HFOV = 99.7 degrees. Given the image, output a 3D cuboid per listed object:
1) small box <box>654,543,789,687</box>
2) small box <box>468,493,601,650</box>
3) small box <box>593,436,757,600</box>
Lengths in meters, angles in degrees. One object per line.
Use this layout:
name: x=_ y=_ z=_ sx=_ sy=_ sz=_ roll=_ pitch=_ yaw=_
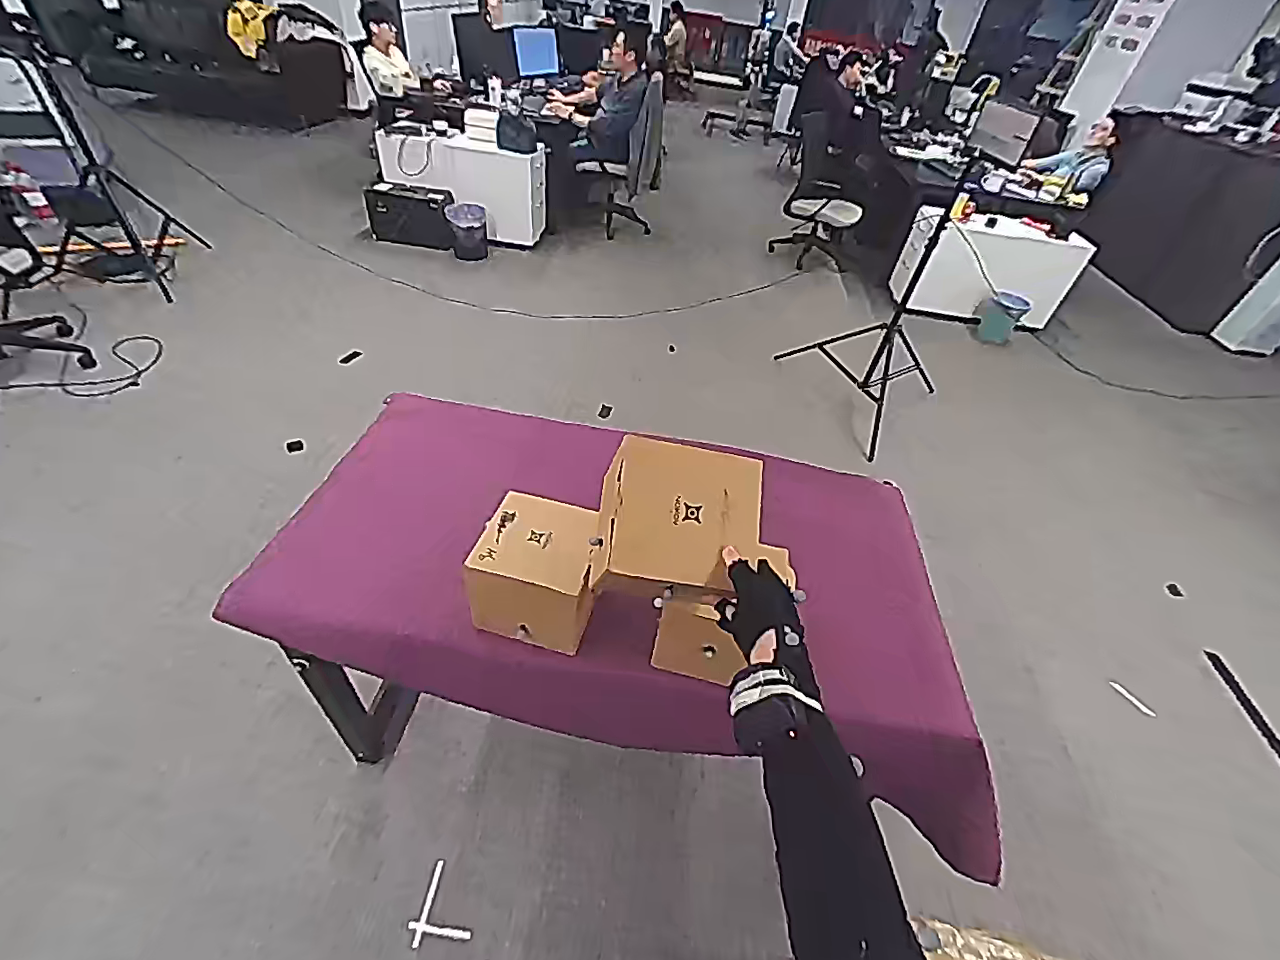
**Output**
small box: x=0.129 y=0.208 z=0.869 sx=0.179 sy=0.176 sz=0.168 roll=12 pitch=42 yaw=6
small box: x=-0.157 y=0.153 z=0.883 sx=0.179 sy=0.176 sz=0.168 roll=14 pitch=42 yaw=5
small box: x=0.039 y=0.060 z=0.709 sx=0.179 sy=0.176 sz=0.168 roll=9 pitch=71 yaw=-9
